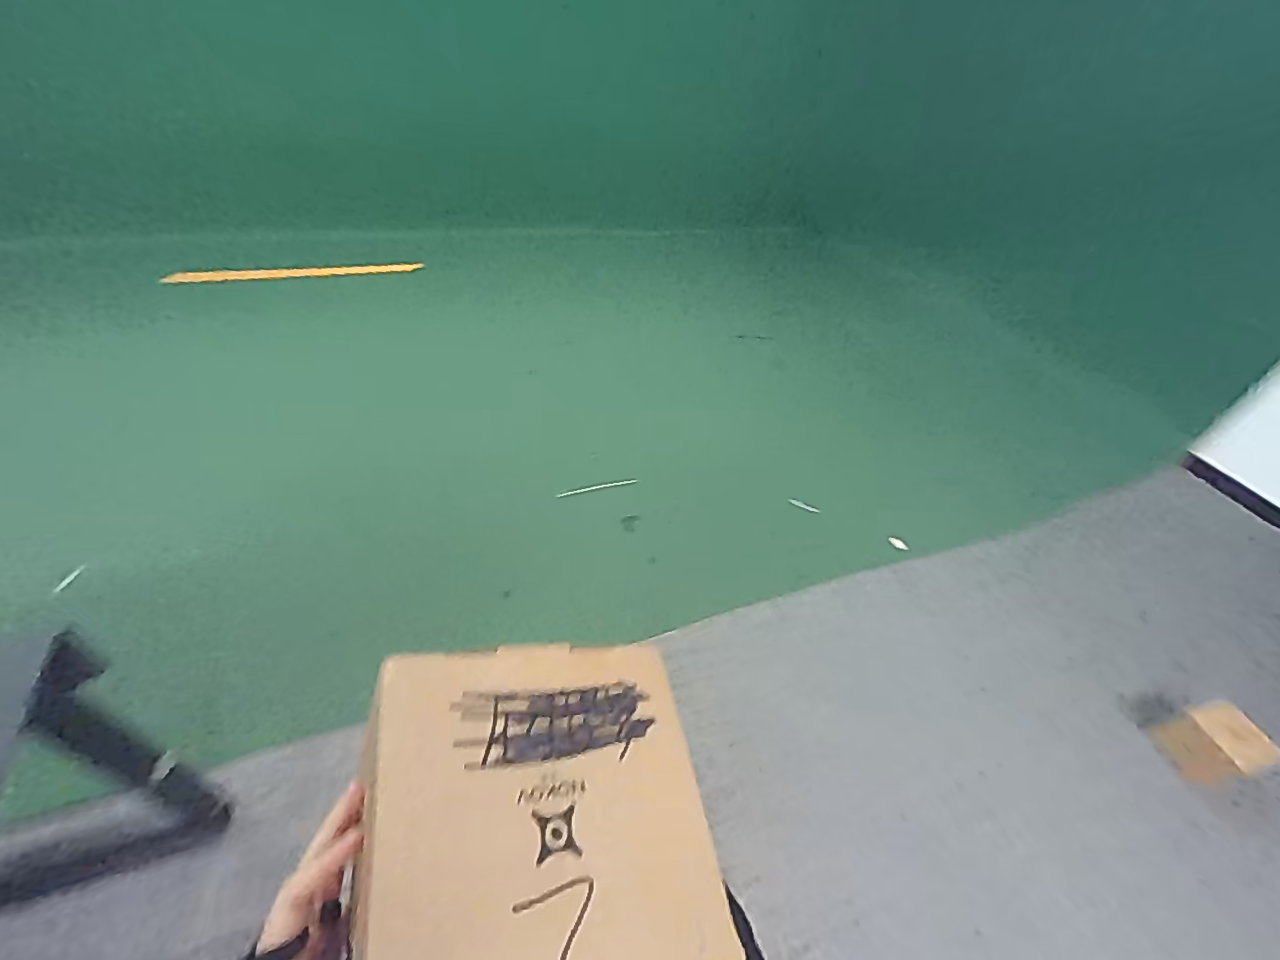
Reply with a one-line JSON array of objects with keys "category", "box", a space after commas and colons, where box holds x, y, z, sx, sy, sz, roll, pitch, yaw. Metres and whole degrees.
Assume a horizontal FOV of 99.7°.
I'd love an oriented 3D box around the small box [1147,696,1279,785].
[{"category": "small box", "box": [1.624, 0.749, 1.548, 0.179, 0.176, 0.168, -6, 47, -15]}]
